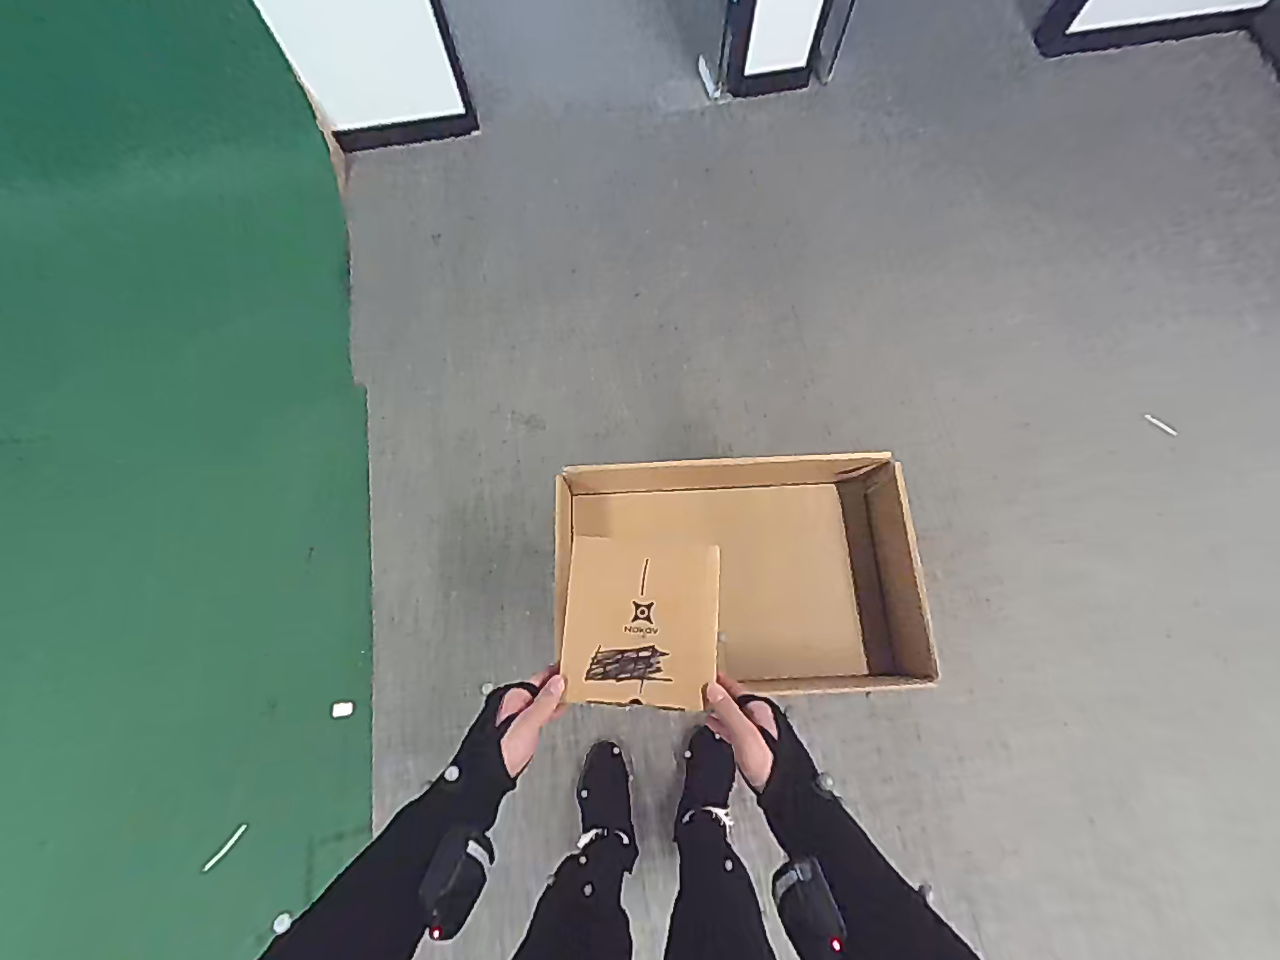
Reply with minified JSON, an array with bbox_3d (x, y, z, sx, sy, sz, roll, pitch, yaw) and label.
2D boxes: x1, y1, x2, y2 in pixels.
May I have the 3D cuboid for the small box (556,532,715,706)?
[{"bbox_3d":[0.003,0.166,0.666,0.168,0.176,0.179,3,76,5],"label":"small box"}]
